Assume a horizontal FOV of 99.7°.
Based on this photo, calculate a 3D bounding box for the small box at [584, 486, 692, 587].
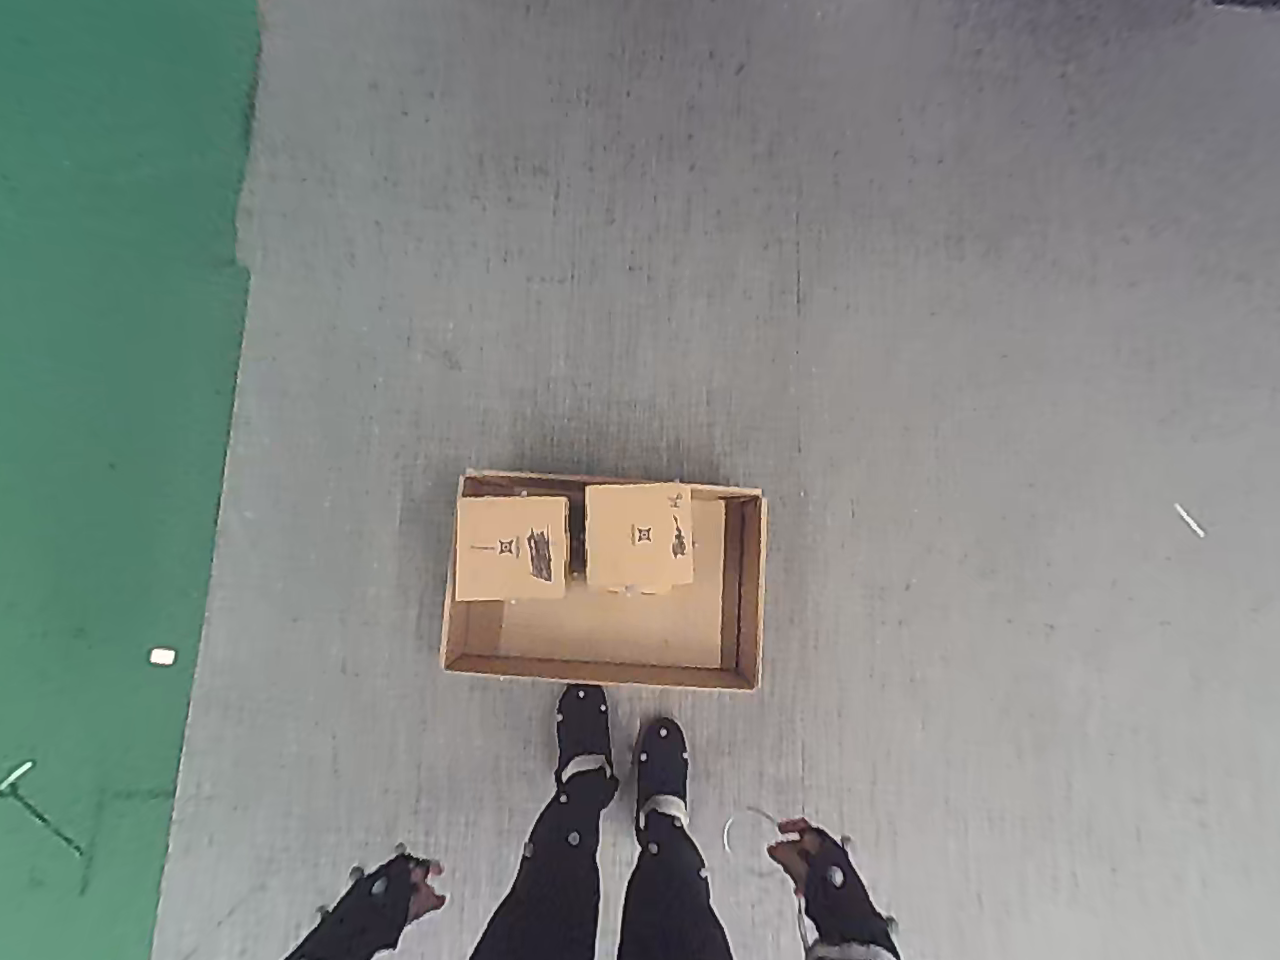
[{"bbox_3d":[-0.003,0.103,0.954,0.179,0.176,0.168,-1,82,0],"label":"small box"}]

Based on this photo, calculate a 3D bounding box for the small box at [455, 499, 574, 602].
[{"bbox_3d":[-0.209,0.121,0.944,0.179,0.176,0.168,0,83,-2],"label":"small box"}]

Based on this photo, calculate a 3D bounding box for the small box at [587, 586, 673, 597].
[{"bbox_3d":[-0.015,0.142,1.114,0.168,0.176,0.179,4,83,0],"label":"small box"}]
